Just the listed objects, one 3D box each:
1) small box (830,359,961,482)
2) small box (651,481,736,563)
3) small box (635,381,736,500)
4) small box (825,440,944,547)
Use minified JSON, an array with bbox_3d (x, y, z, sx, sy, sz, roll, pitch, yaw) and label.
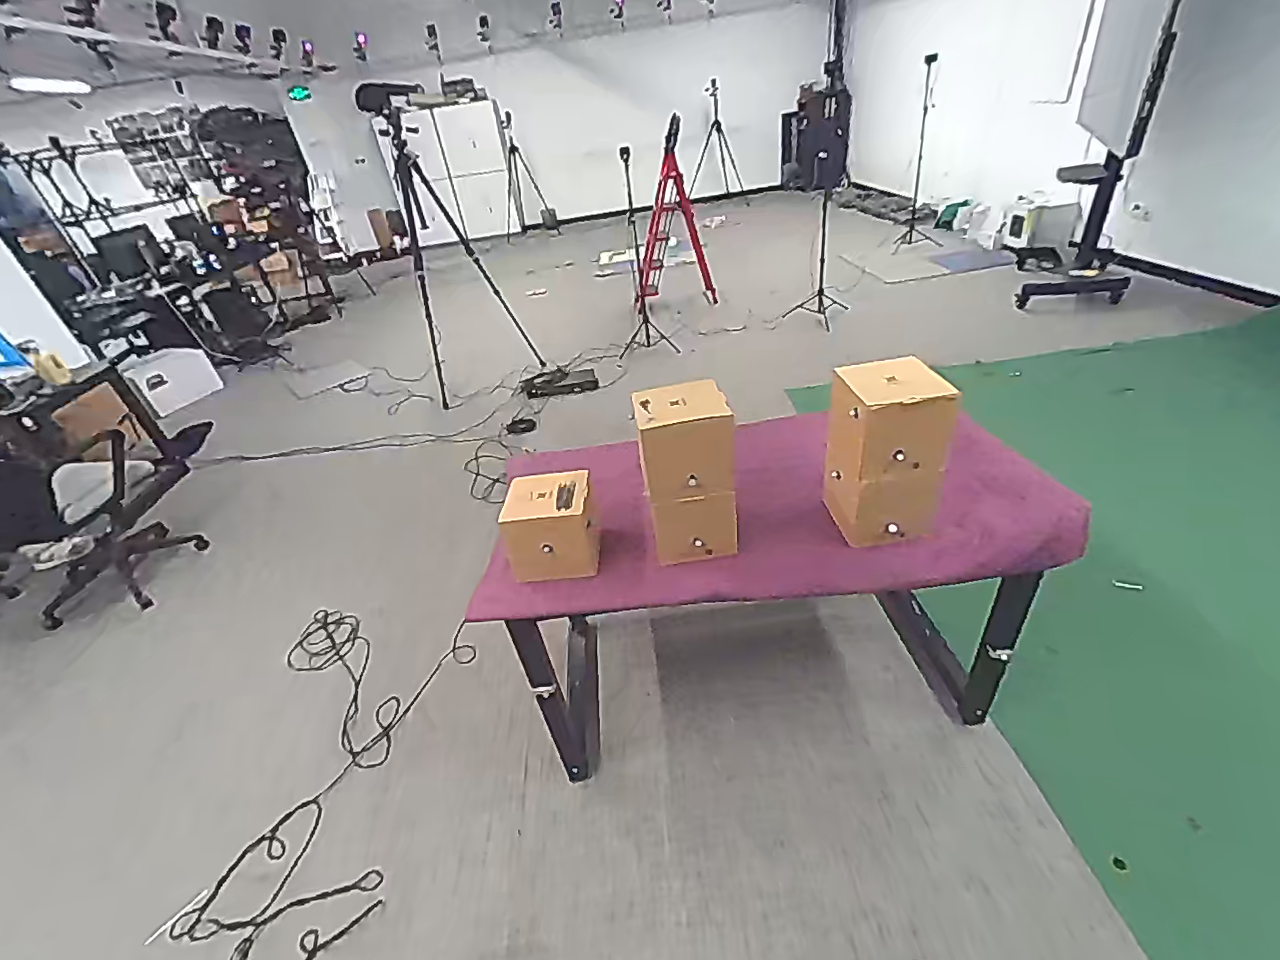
[{"bbox_3d":[0.483,-0.118,1.054,0.168,0.176,0.179,-8,35,1],"label":"small box"},{"bbox_3d":[0.110,0.054,1.172,0.168,0.176,0.179,-9,33,0],"label":"small box"},{"bbox_3d":[0.089,-0.079,1.080,0.179,0.176,0.168,-8,33,-1],"label":"small box"},{"bbox_3d":[0.502,0.018,1.142,0.168,0.176,0.179,-8,35,1],"label":"small box"}]
